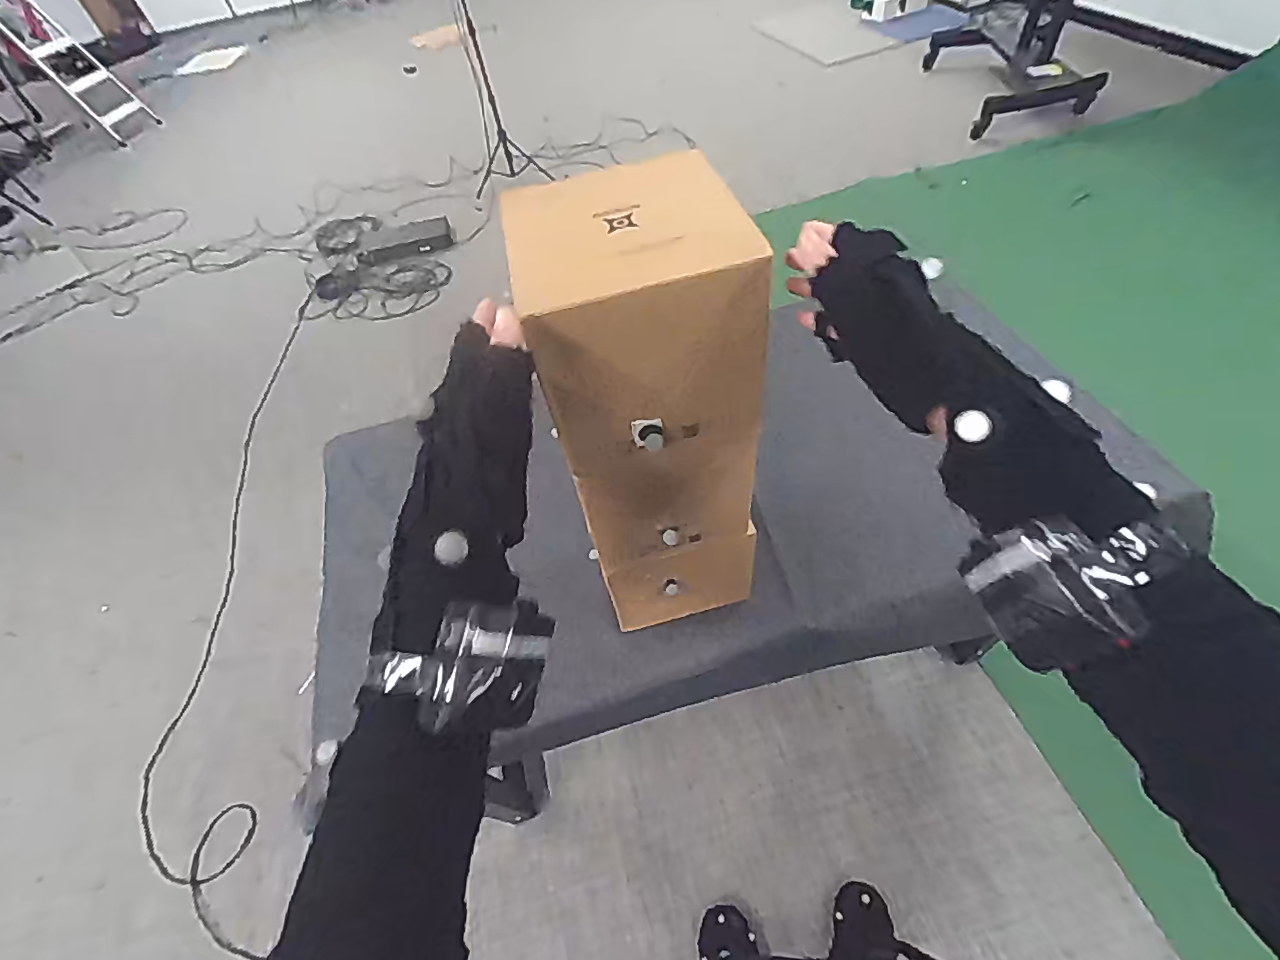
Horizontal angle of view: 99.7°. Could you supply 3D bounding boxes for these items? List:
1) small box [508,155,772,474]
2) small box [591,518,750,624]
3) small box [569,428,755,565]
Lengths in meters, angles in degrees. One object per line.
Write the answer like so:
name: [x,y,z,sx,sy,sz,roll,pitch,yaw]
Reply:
small box: [-0.004,-0.133,0.447,0.168,0.176,0.179,-13,52,-2]
small box: [0.033,0.068,0.703,0.179,0.176,0.168,-14,52,-3]
small box: [0.011,-0.036,0.577,0.168,0.176,0.179,-14,53,-3]
